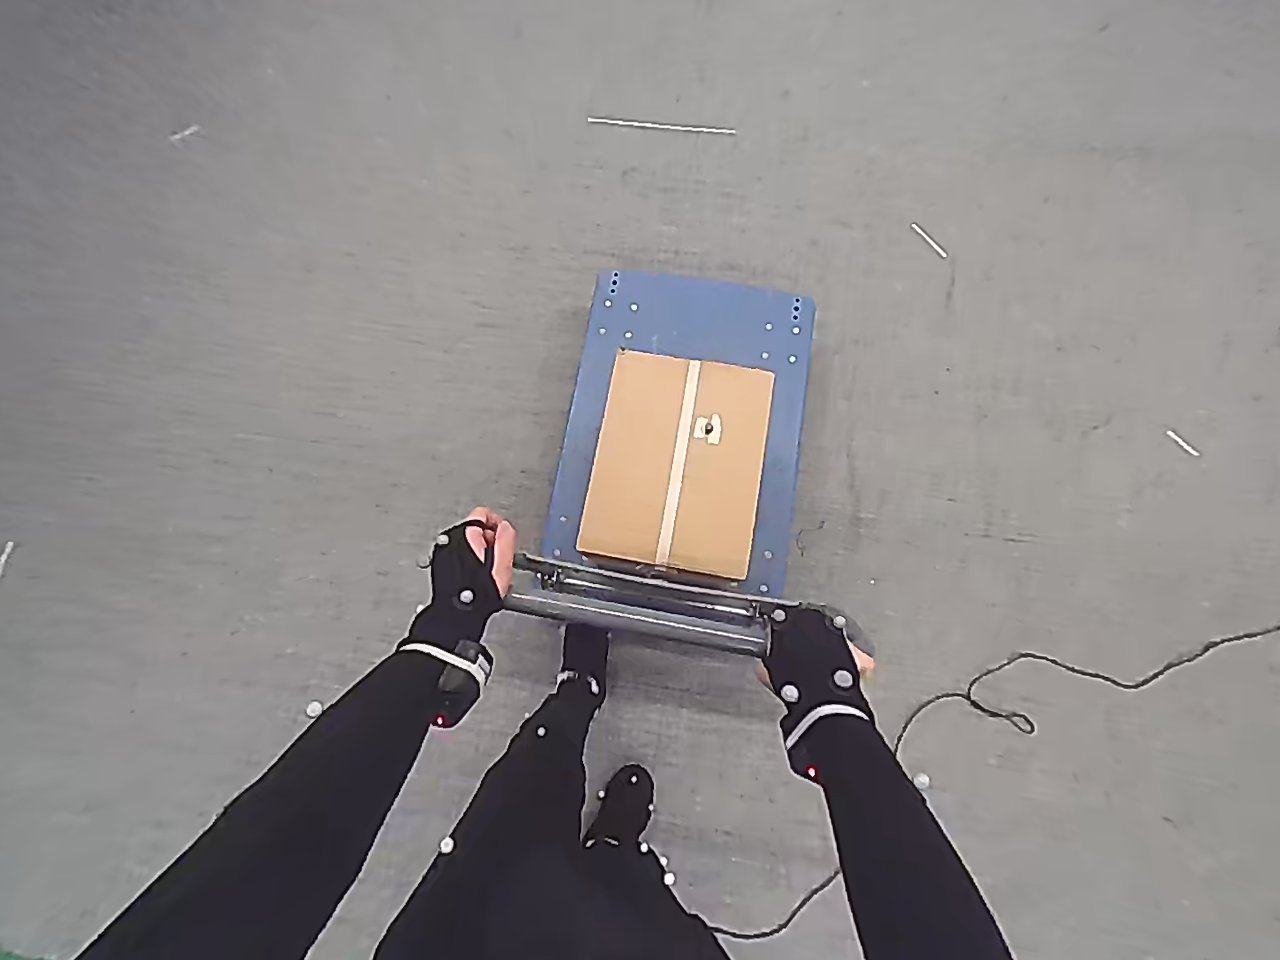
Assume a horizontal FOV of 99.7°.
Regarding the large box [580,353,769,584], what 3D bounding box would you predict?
[{"bbox_3d":[0.076,-0.005,1.159,0.320,0.320,0.408,9,77,4],"label":"large box"}]
